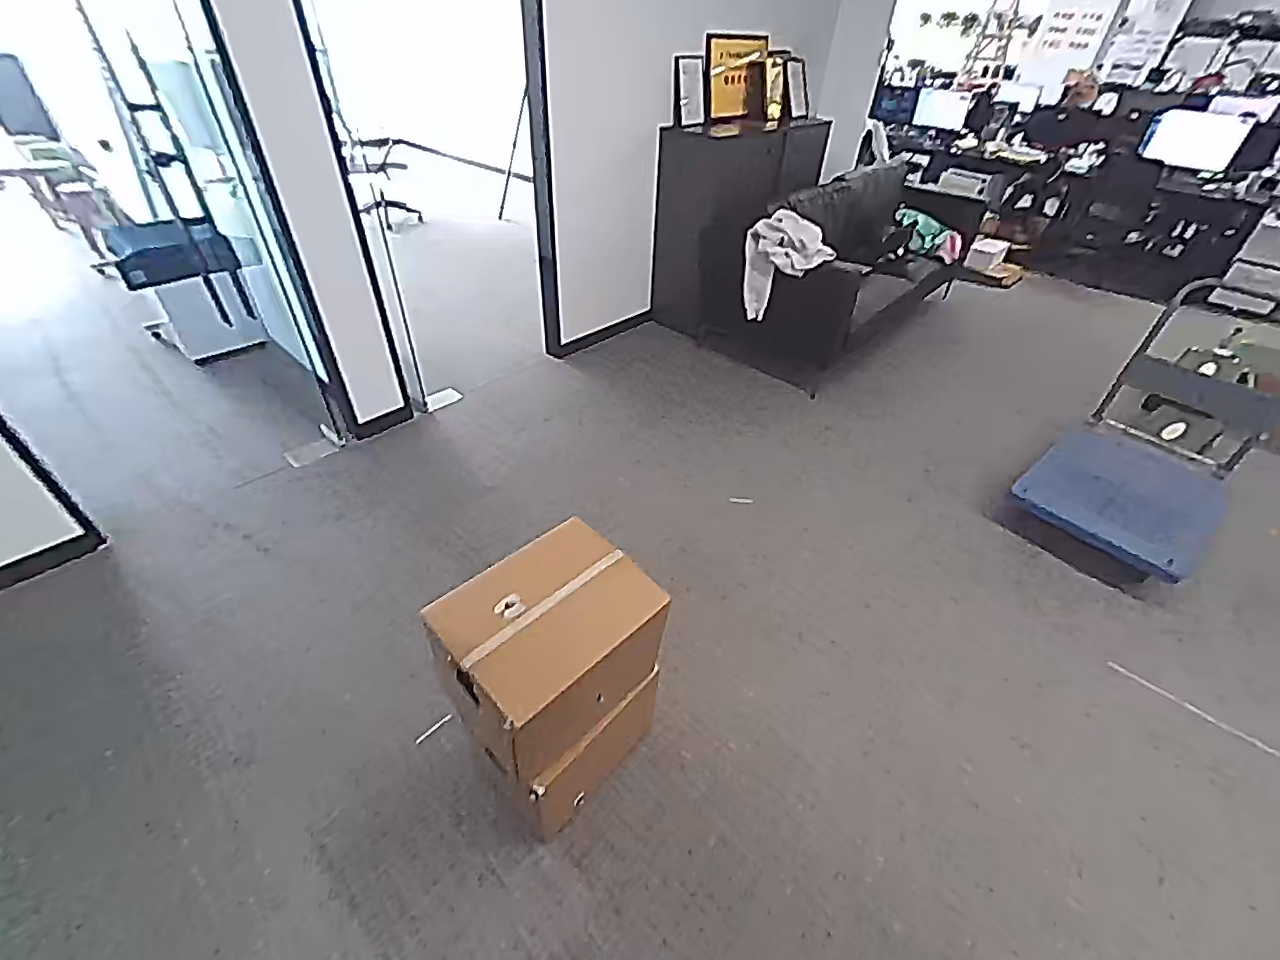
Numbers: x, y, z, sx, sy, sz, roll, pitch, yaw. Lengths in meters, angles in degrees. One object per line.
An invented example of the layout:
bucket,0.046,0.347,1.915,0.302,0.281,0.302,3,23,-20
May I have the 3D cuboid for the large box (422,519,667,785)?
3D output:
large box,-0.198,0.364,1.194,0.320,0.320,0.408,37,51,28
